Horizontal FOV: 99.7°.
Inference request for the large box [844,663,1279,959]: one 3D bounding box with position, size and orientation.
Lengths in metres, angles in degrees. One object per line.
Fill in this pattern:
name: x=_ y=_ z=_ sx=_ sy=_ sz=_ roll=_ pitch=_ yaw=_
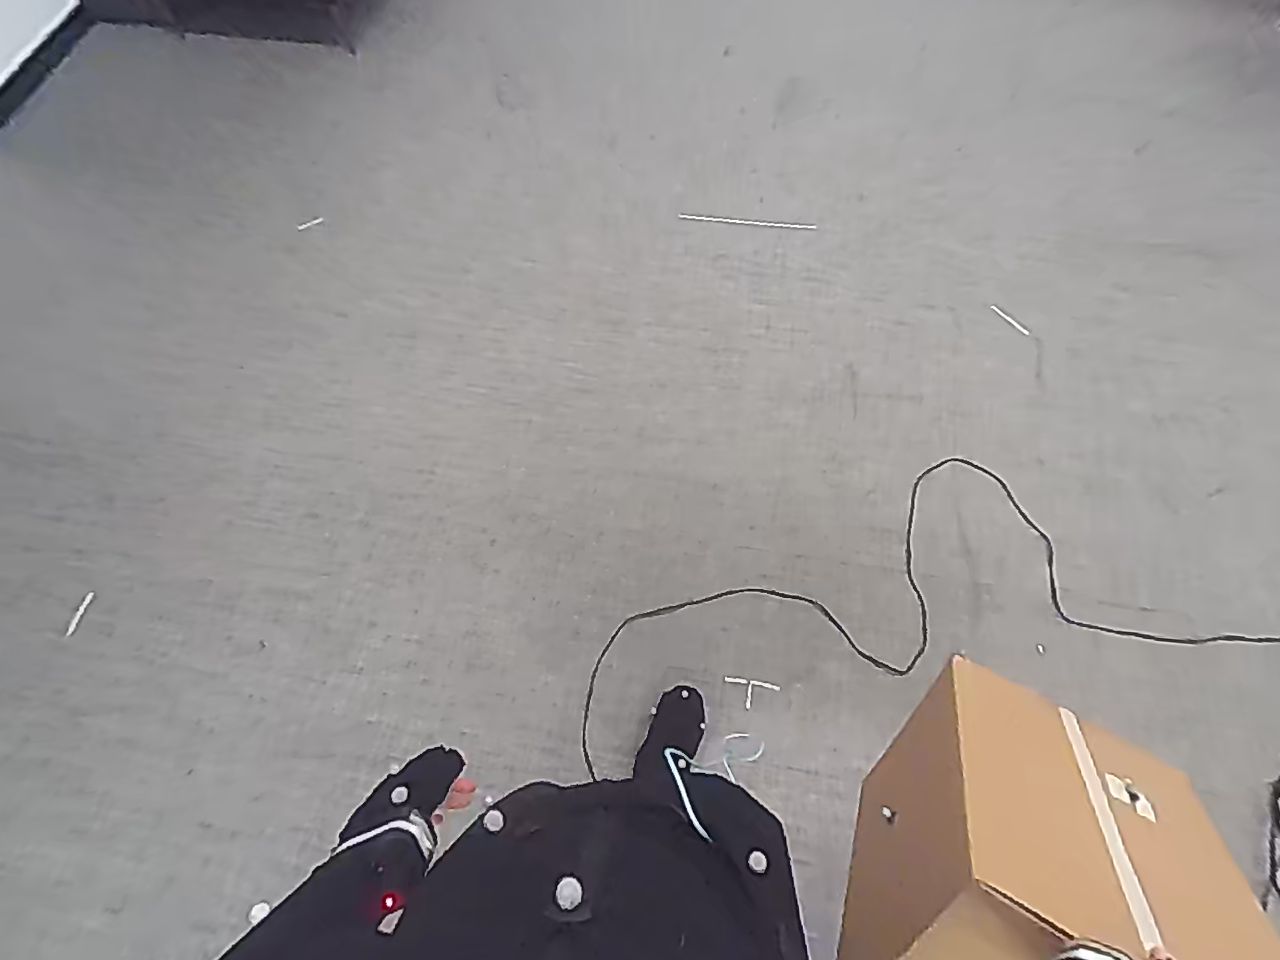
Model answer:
large box: x=0.480 y=0.526 z=0.682 sx=0.320 sy=0.408 sz=0.320 roll=28 pitch=114 yaw=18
